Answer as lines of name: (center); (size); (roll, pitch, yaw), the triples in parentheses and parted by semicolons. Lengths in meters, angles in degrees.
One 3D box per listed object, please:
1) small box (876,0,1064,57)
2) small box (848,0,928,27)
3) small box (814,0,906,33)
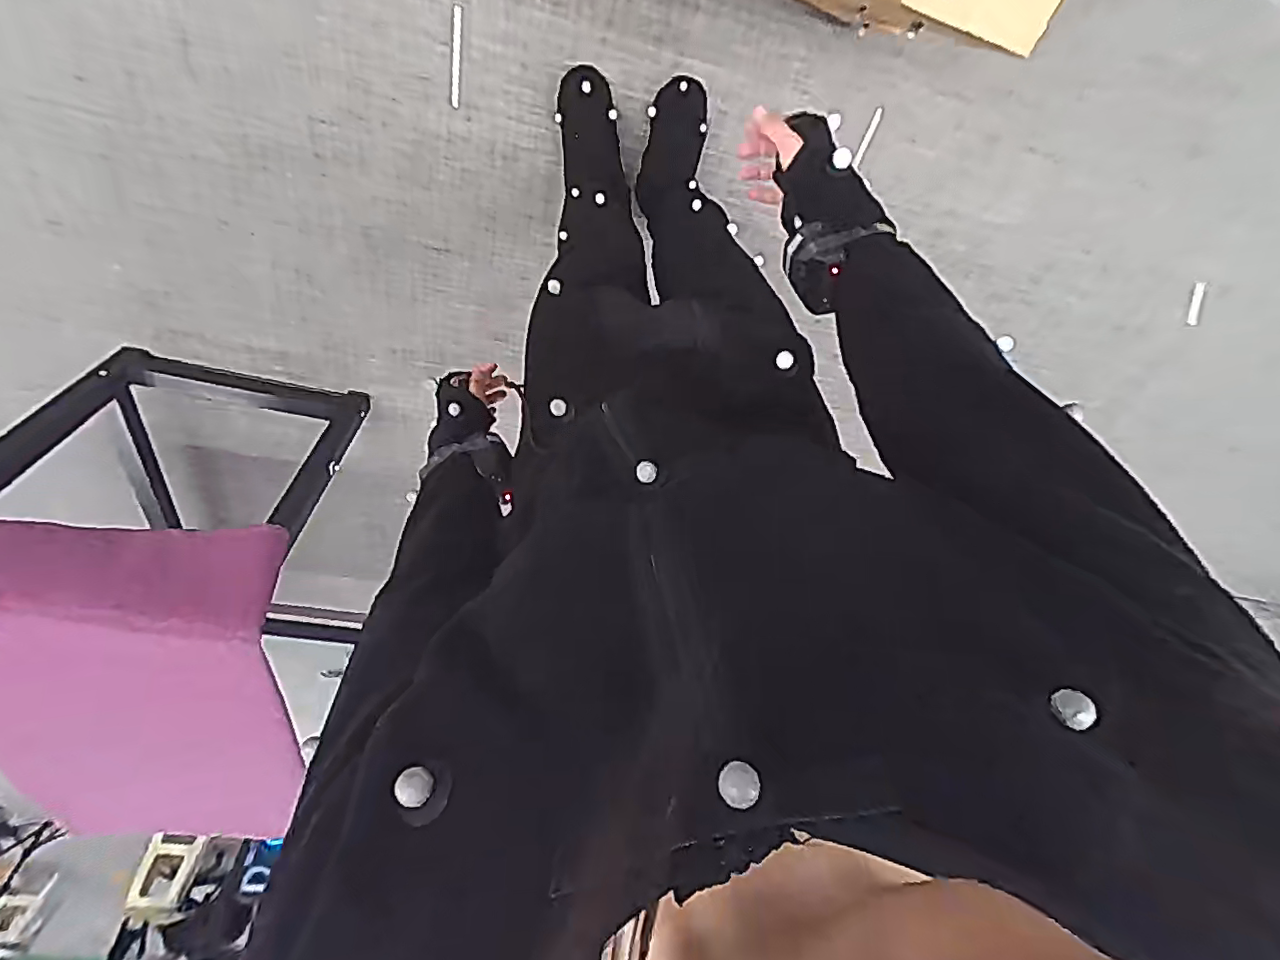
small box: (0.379, -0.609, 0.598); (0.179, 0.176, 0.168); (10, 133, -15)
small box: (0.363, -0.730, 0.708); (0.168, 0.176, 0.179); (9, 133, -13)
small box: (0.351, -0.832, 0.834); (0.179, 0.176, 0.168); (12, 131, -15)
